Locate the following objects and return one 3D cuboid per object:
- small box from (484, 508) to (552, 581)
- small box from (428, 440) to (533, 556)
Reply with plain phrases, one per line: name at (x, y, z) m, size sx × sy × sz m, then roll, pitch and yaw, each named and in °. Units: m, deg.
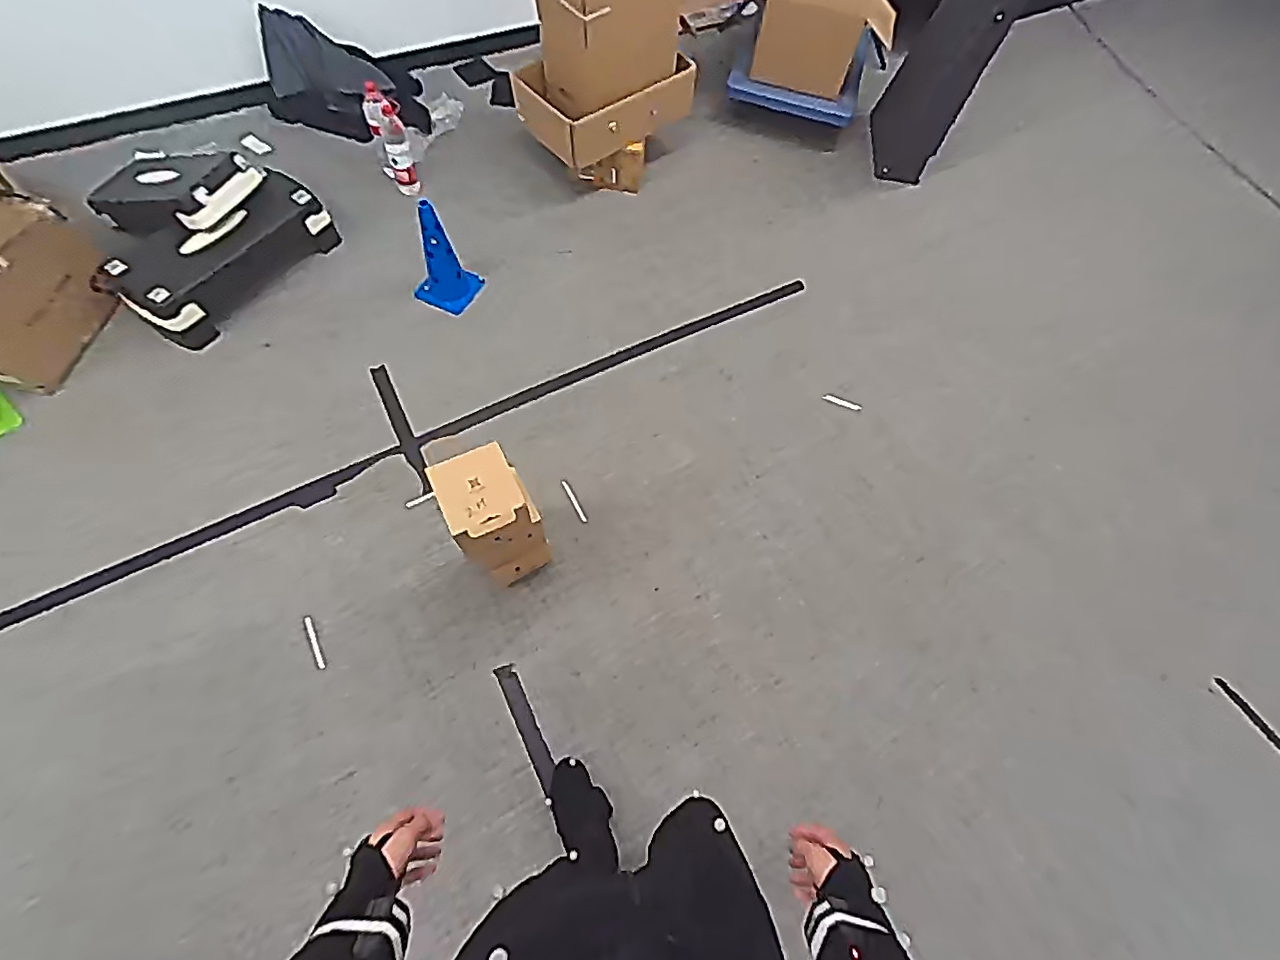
small box at (-0.361, 0.169, 1.530) m, size 0.168 × 0.176 × 0.179 m, roll -29°, pitch 70°, yaw -17°
small box at (-0.354, 0.045, 1.222) m, size 0.168 × 0.176 × 0.179 m, roll -24°, pitch 69°, yaw -15°
